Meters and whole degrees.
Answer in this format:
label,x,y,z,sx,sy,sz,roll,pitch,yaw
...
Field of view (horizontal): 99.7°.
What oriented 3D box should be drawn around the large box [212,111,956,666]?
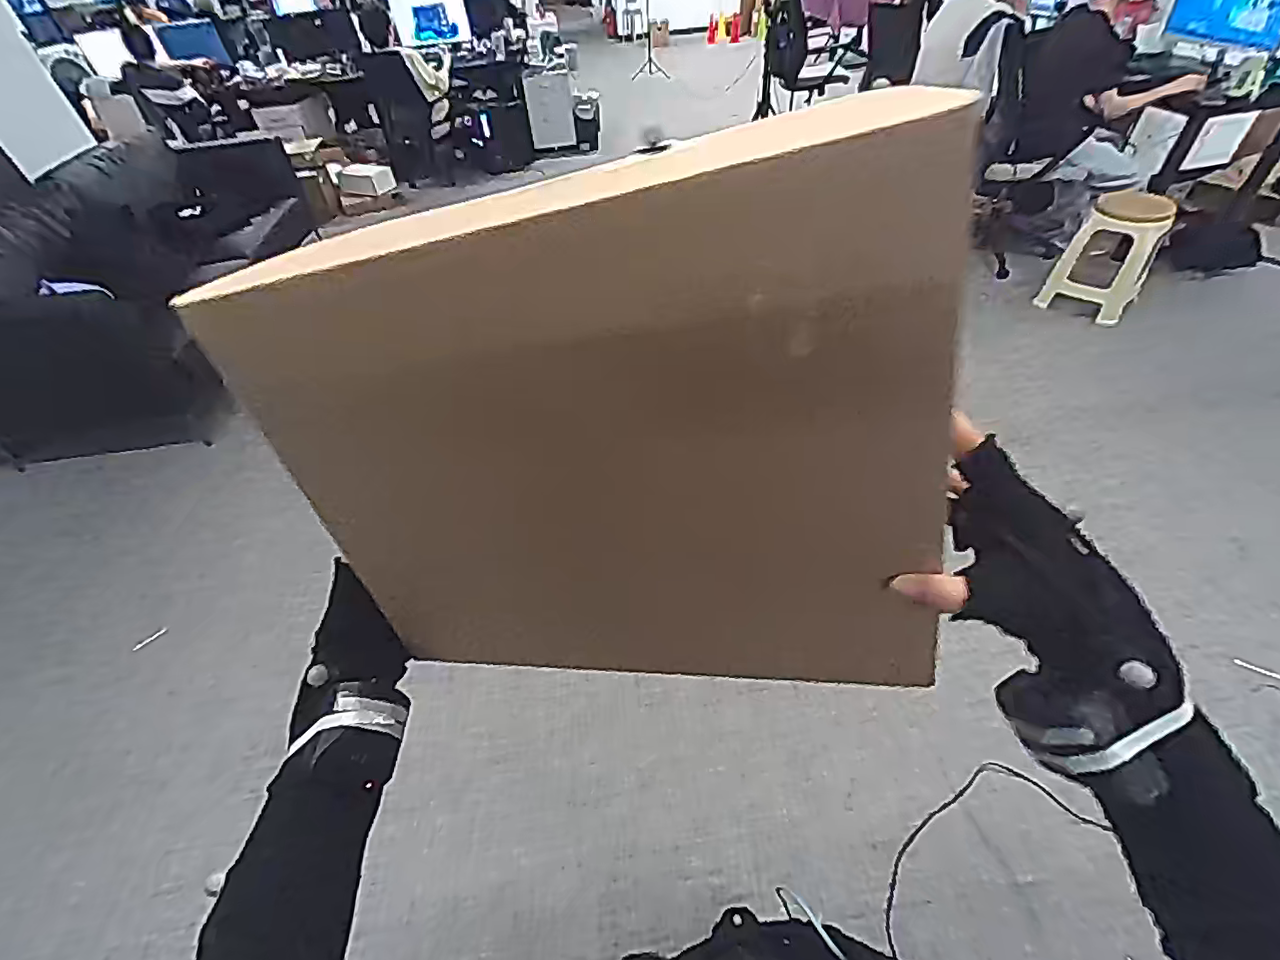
label,x,y,z,sx,sy,sz,roll,pitch,yaw
large box,-0.004,-0.071,0.455,0.408,0.320,0.320,-3,34,19
